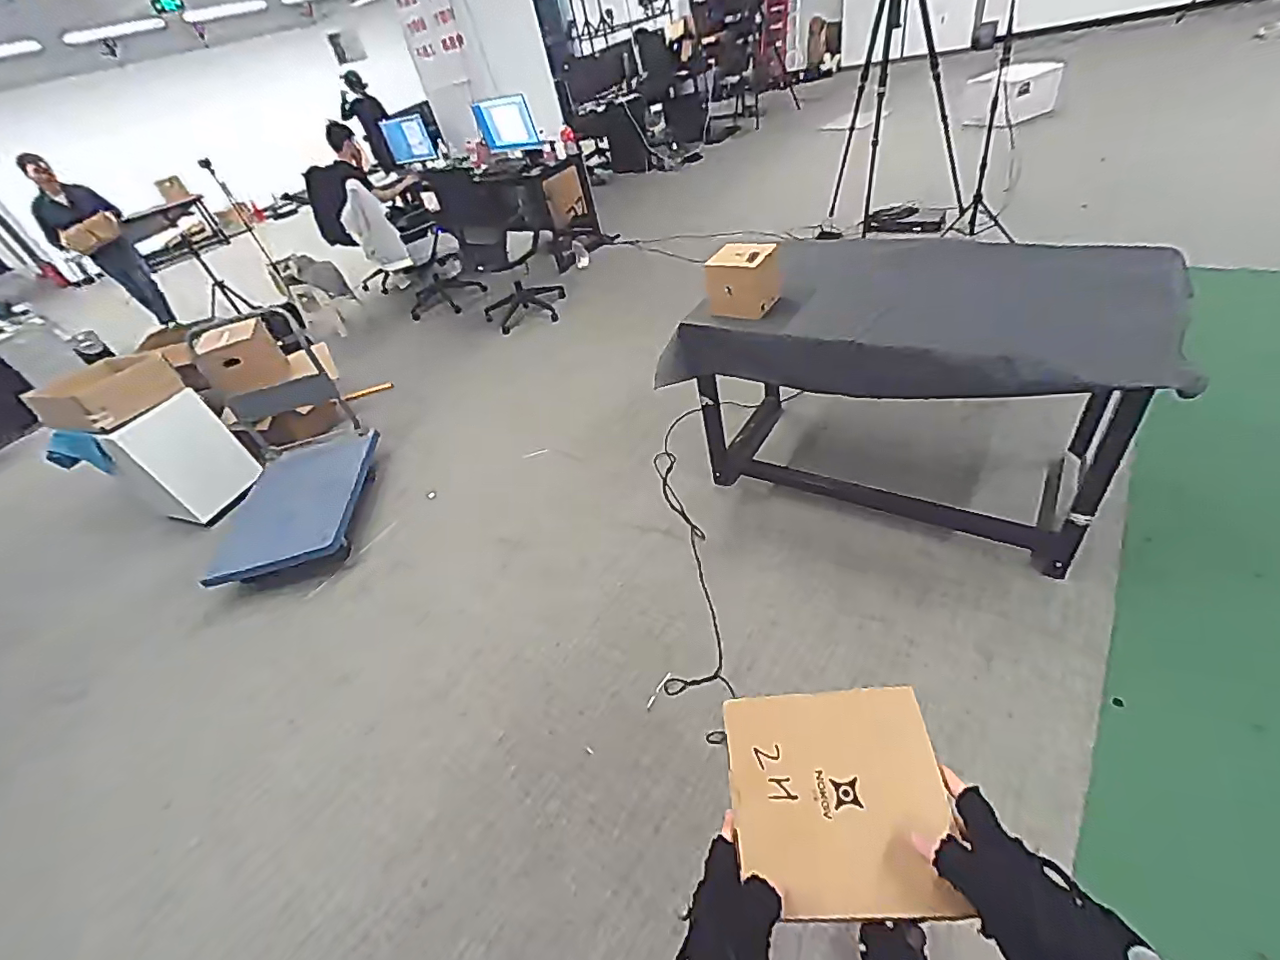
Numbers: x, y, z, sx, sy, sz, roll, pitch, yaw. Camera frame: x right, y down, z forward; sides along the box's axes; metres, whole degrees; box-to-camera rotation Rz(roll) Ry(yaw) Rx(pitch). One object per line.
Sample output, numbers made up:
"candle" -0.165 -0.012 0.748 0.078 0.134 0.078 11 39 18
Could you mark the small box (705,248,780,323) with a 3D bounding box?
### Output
"small box" 0.327 -0.607 1.689 0.179 0.176 0.168 17 50 33
